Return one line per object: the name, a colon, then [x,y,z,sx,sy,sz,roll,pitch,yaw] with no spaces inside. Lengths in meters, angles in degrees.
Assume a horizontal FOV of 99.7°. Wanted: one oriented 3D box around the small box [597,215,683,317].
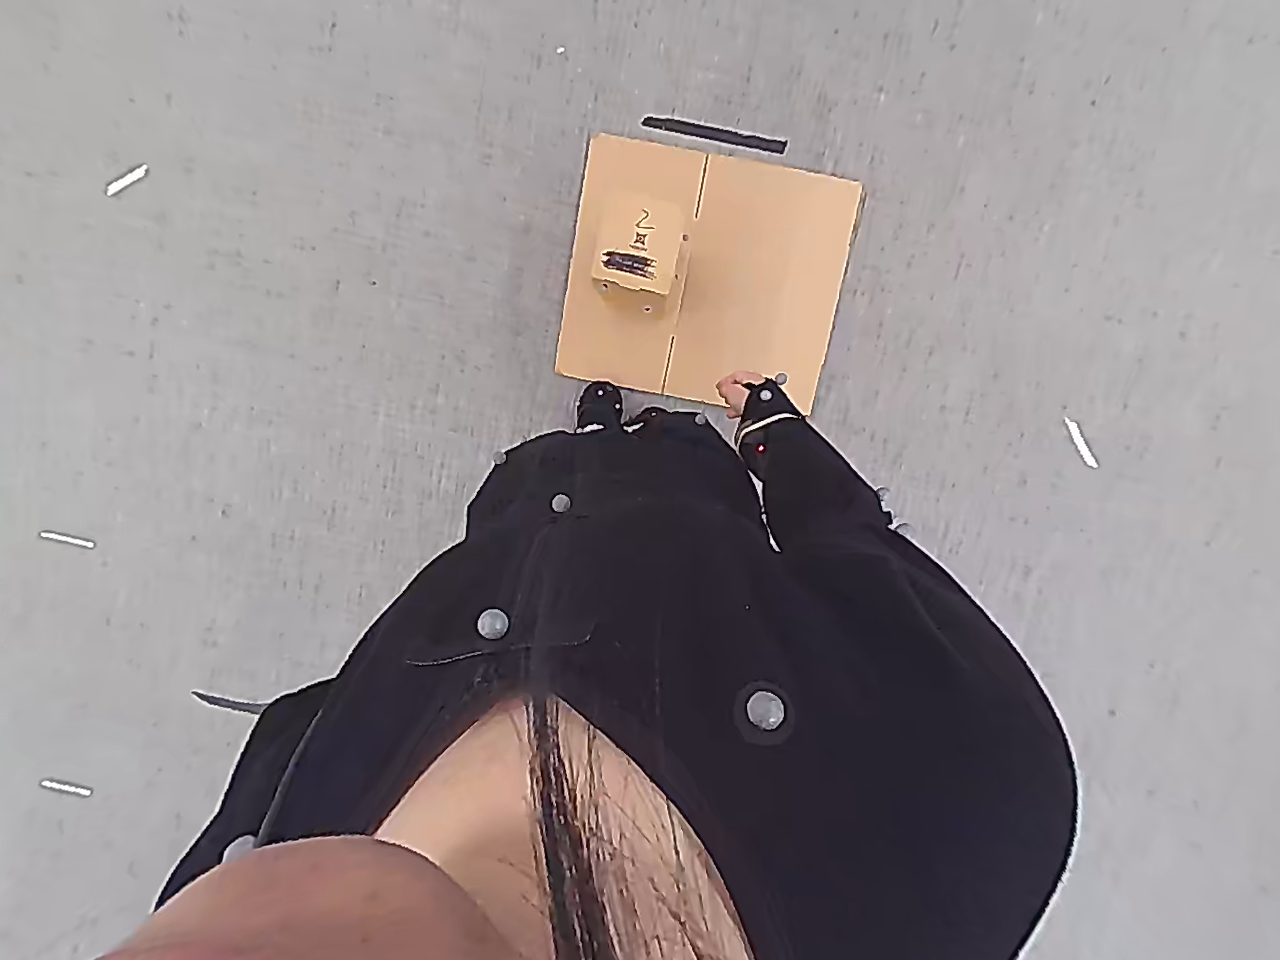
small box: [0.002,-0.511,1.320,0.168,0.176,0.179,15,98,-2]
